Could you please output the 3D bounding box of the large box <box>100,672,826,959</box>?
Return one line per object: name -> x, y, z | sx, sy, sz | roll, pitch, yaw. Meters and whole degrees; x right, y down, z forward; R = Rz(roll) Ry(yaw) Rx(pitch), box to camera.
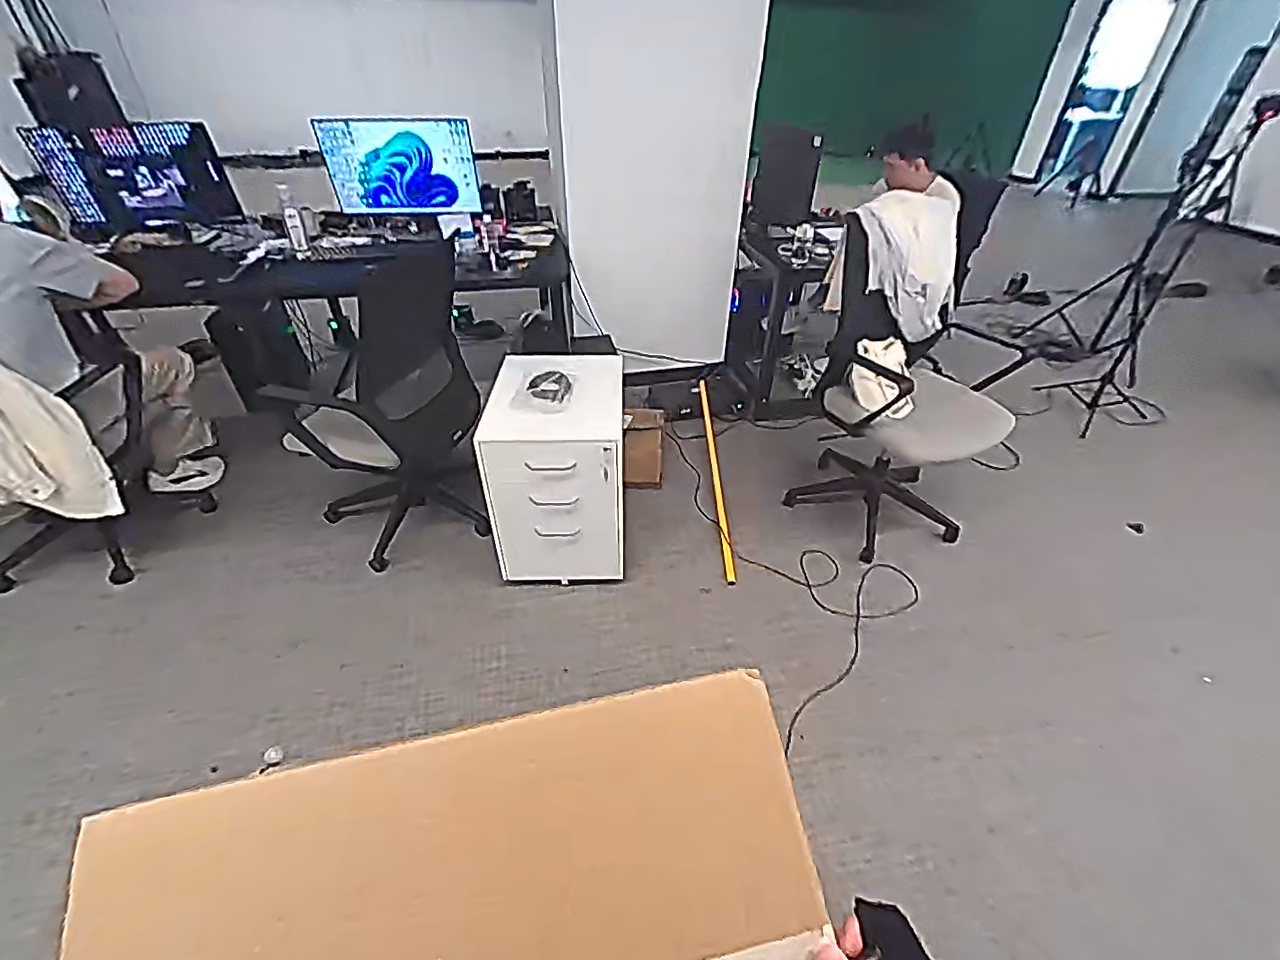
large box -> -0.097, 0.364, 0.430 | 0.408, 0.320, 0.320 | -9, 69, -9
